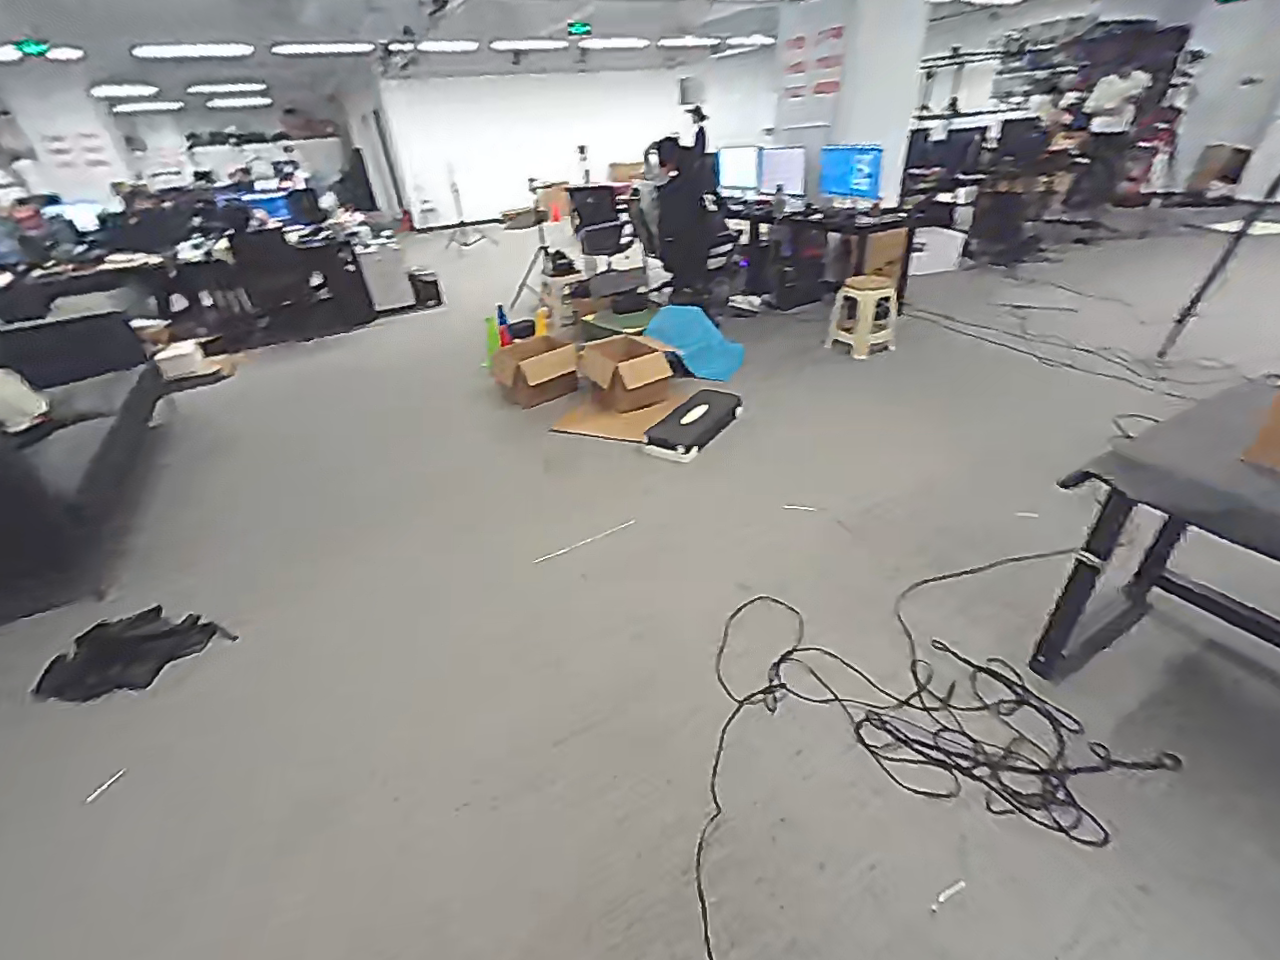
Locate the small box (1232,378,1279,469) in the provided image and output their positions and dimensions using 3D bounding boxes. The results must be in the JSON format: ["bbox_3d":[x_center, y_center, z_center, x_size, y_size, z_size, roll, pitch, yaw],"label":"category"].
[{"bbox_3d":[1.349,-0.106,1.068,0.168,0.176,0.179,-21,37,-24],"label":"small box"}]
